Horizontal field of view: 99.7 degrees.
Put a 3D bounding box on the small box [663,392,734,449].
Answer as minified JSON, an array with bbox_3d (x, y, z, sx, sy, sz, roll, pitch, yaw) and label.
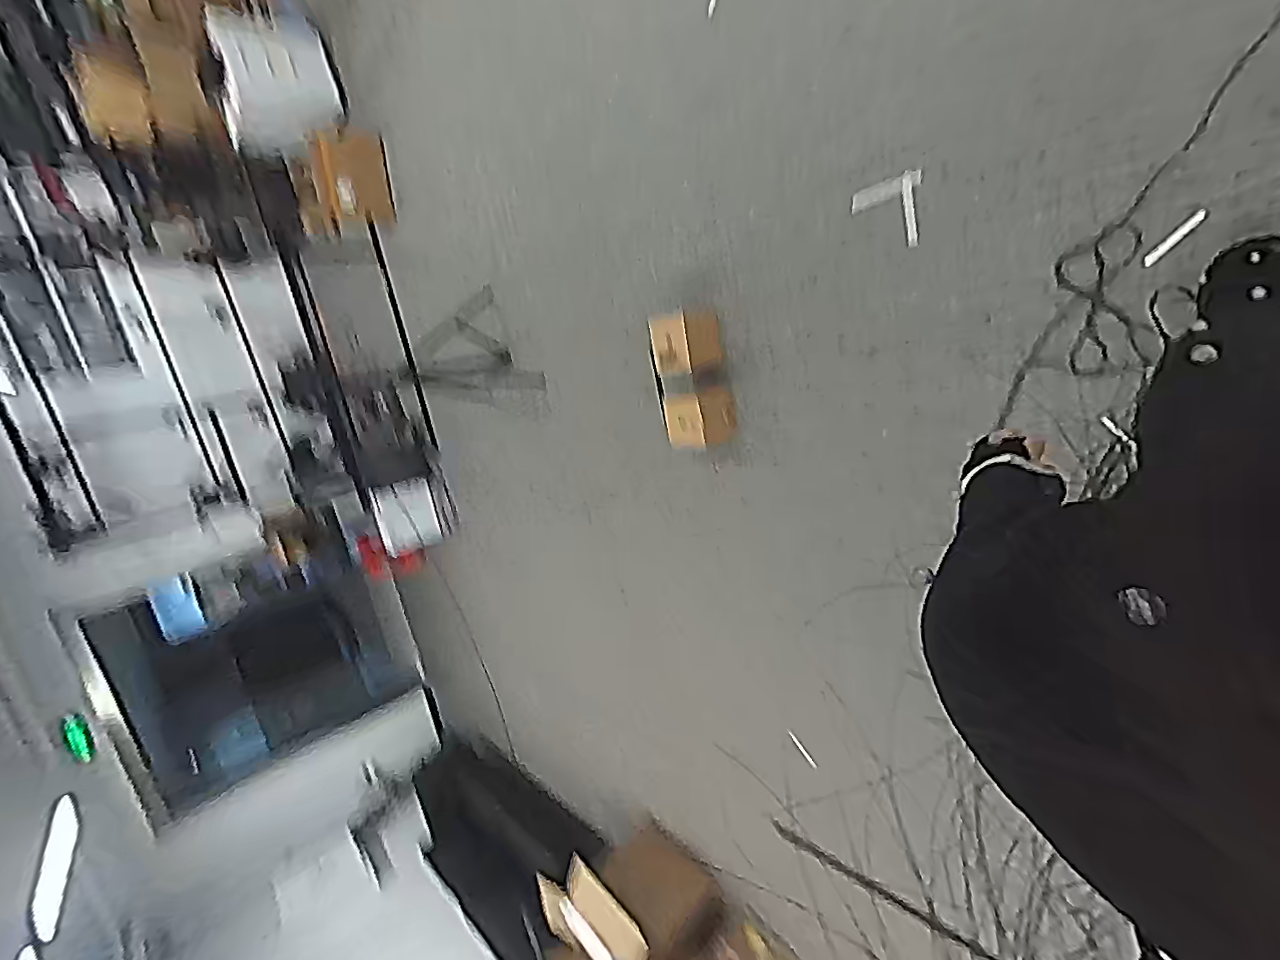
[{"bbox_3d":[0.212,-0.215,1.927,0.179,0.176,0.168,6,112,47],"label":"small box"}]
